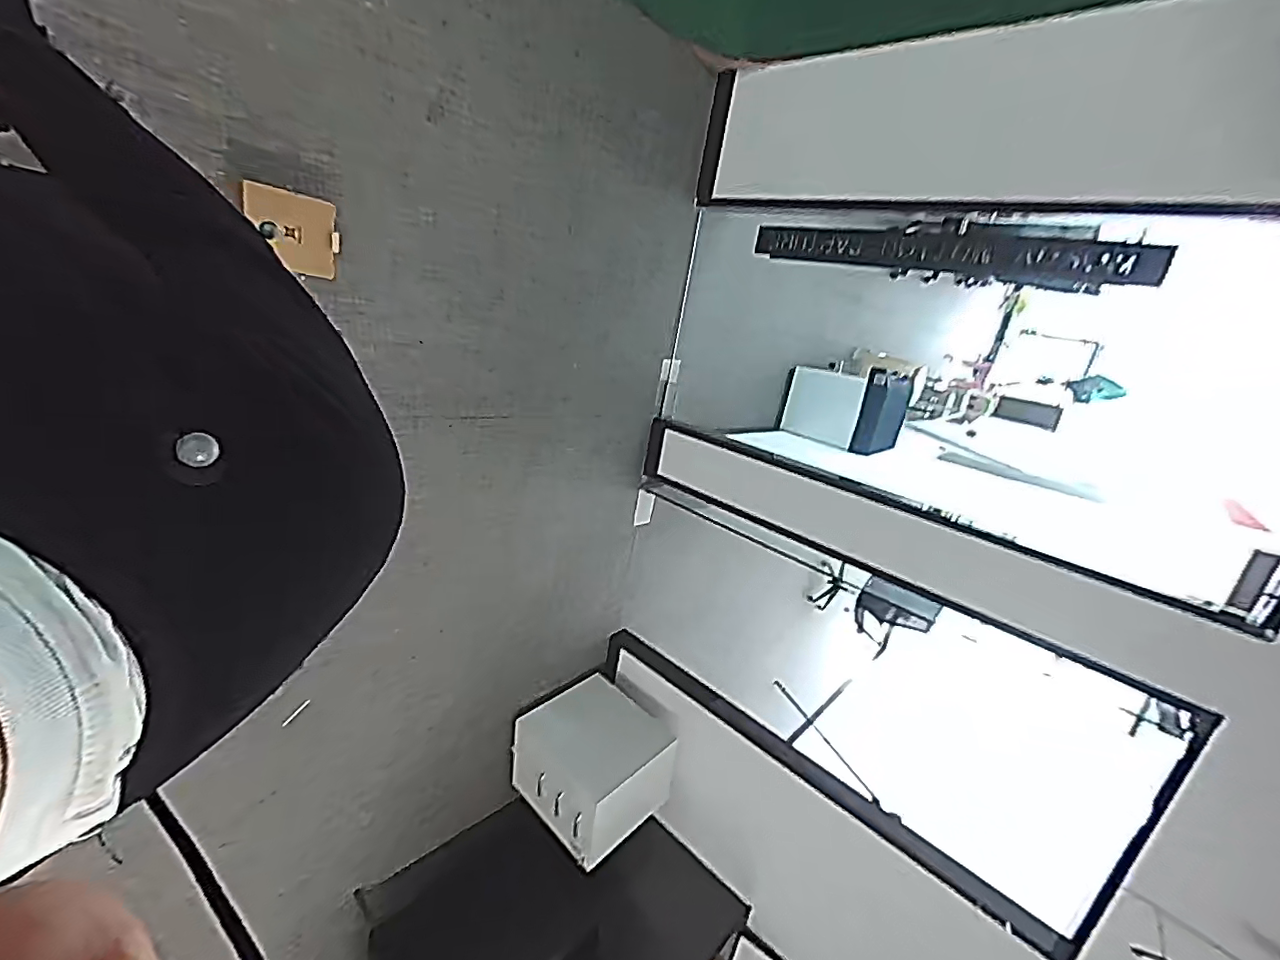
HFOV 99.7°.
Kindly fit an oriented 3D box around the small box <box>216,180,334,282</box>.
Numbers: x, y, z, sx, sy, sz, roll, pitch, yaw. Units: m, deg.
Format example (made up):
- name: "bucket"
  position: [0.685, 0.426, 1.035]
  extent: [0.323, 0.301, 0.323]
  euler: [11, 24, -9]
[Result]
- name: "small box"
  position: [-0.816, -0.553, 1.209]
  extent: [0.179, 0.176, 0.168]
  euler: [-4, 110, -49]
